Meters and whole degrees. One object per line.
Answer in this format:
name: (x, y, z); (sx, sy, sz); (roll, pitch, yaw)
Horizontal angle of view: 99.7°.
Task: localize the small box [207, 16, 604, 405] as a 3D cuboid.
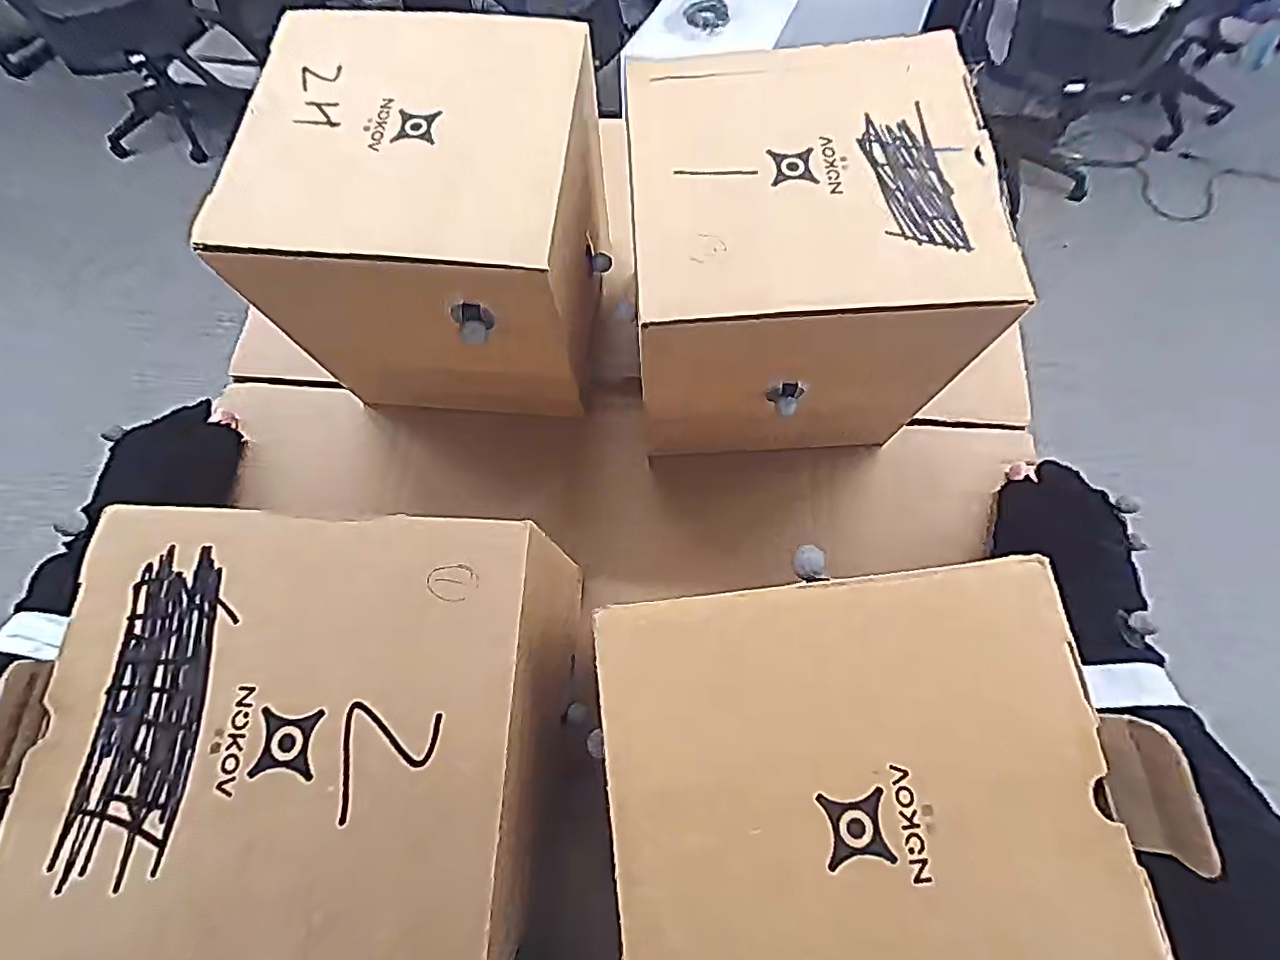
small box: (-0.123, -0.162, 0.368); (0.179, 0.176, 0.168); (5, 72, 3)
